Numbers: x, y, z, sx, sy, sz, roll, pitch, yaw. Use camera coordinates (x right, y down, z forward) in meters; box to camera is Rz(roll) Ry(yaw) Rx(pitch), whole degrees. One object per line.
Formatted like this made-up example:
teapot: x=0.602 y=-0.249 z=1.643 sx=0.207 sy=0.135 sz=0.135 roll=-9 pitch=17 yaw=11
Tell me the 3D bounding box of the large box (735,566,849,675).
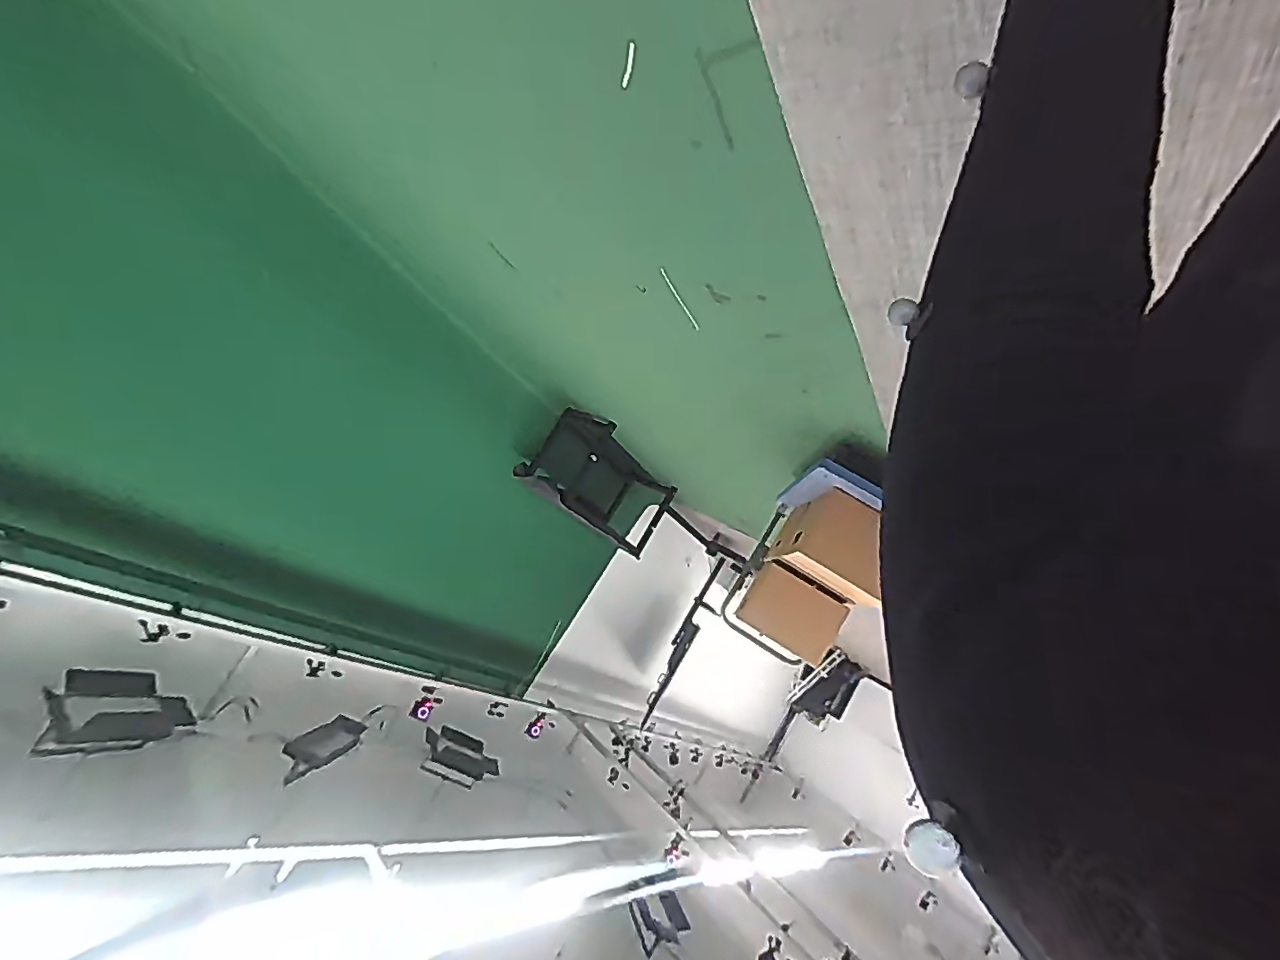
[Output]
large box: x=0.706 y=0.649 z=2.559 sx=0.408 sy=0.320 sz=0.320 roll=32 pitch=175 yaw=11
